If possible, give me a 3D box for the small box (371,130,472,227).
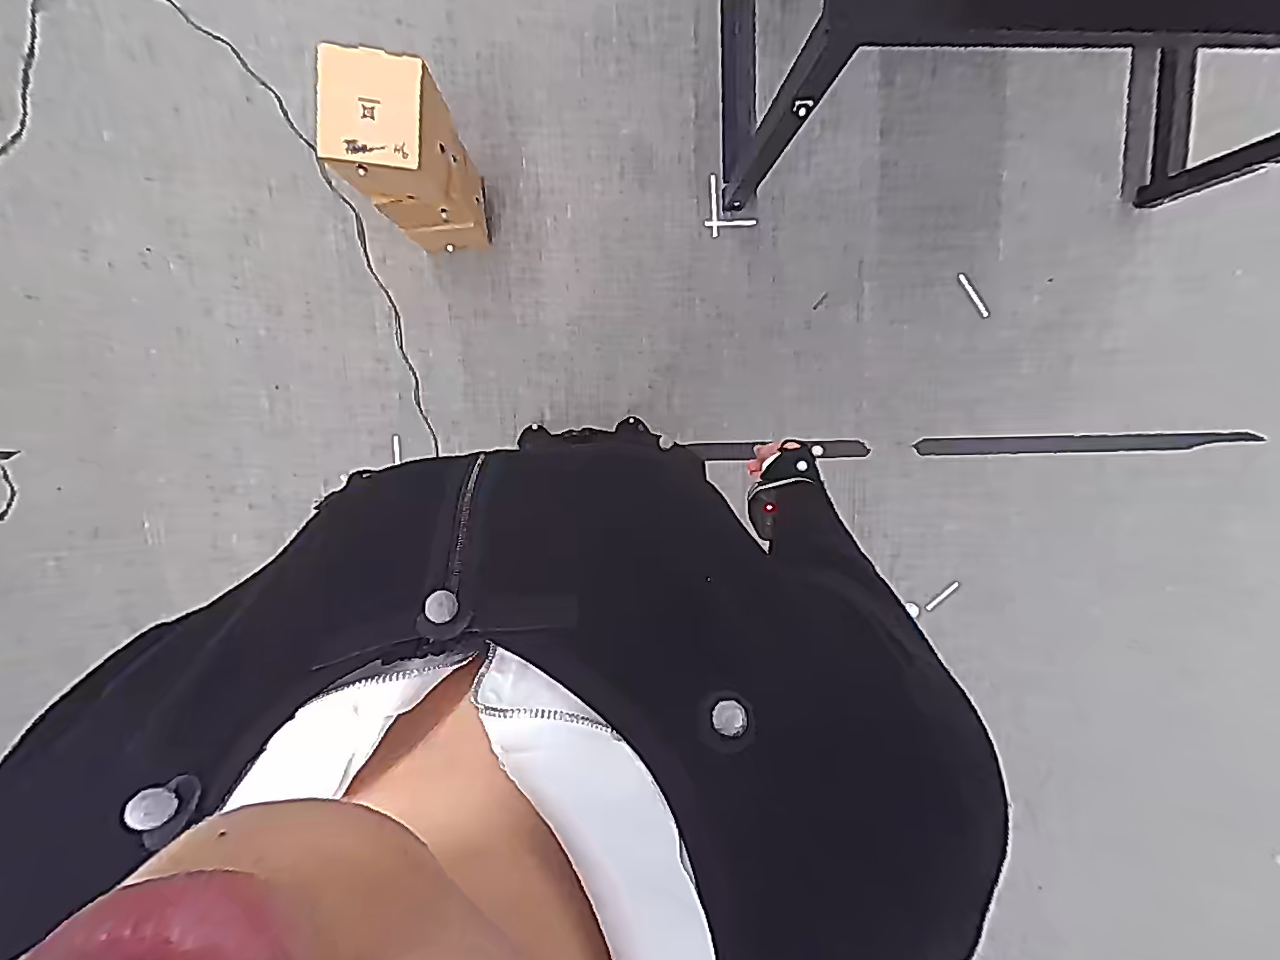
[{"bbox_3d":[-0.465,-0.649,1.136,0.168,0.176,0.179,-10,97,-3],"label":"small box"}]

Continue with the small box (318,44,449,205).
[{"bbox_3d":[-0.451,-0.626,0.974,0.168,0.176,0.179,5,97,-5],"label":"small box"}]

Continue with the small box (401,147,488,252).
[{"bbox_3d":[-0.472,-0.666,1.297,0.168,0.176,0.179,-6,99,-3],"label":"small box"}]
